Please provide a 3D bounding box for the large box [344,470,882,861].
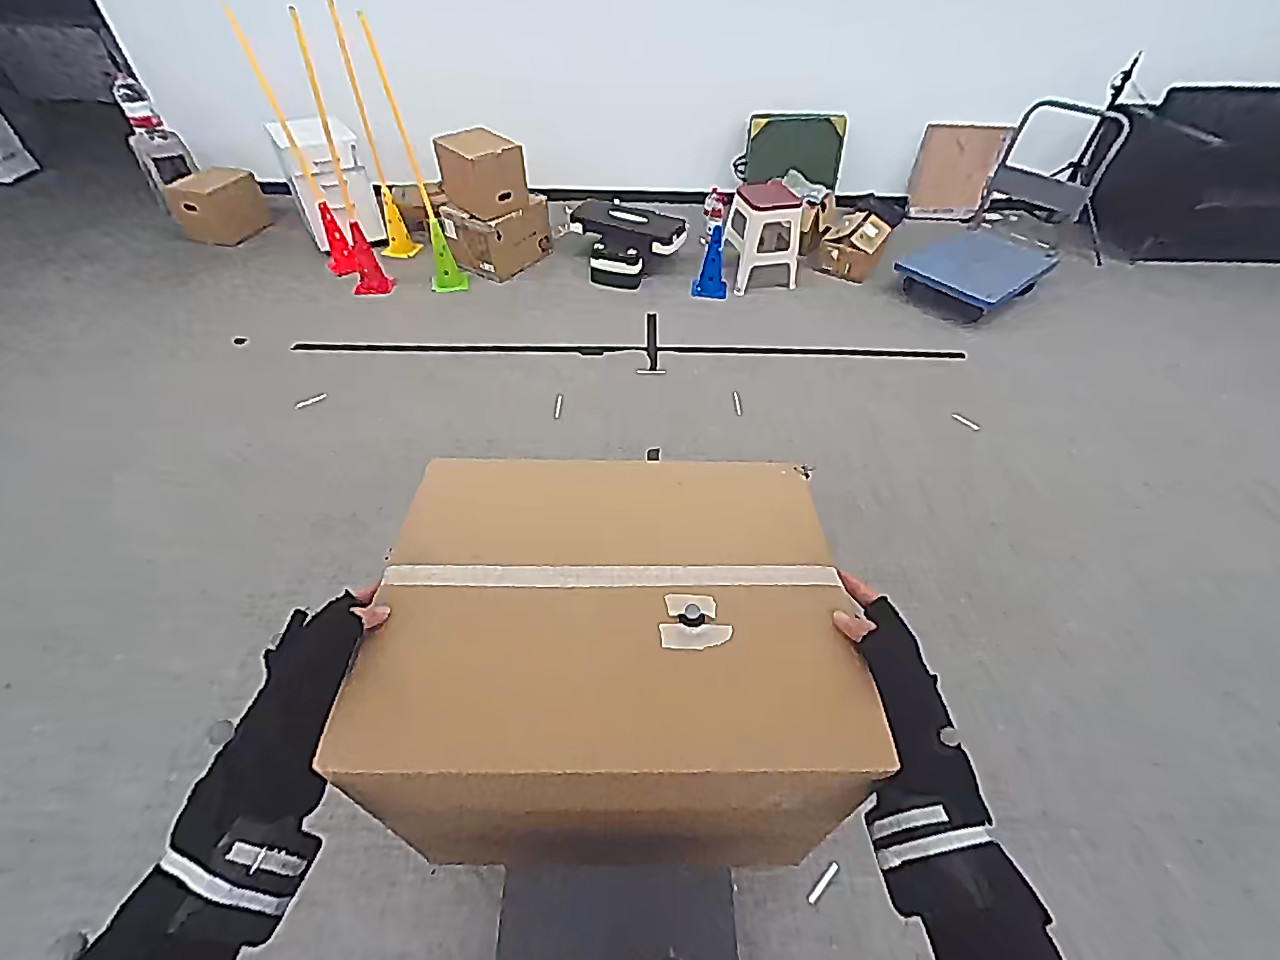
[{"bbox_3d":[-0.024,0.203,0.602,0.408,0.320,0.320,1,45,-1],"label":"large box"}]
